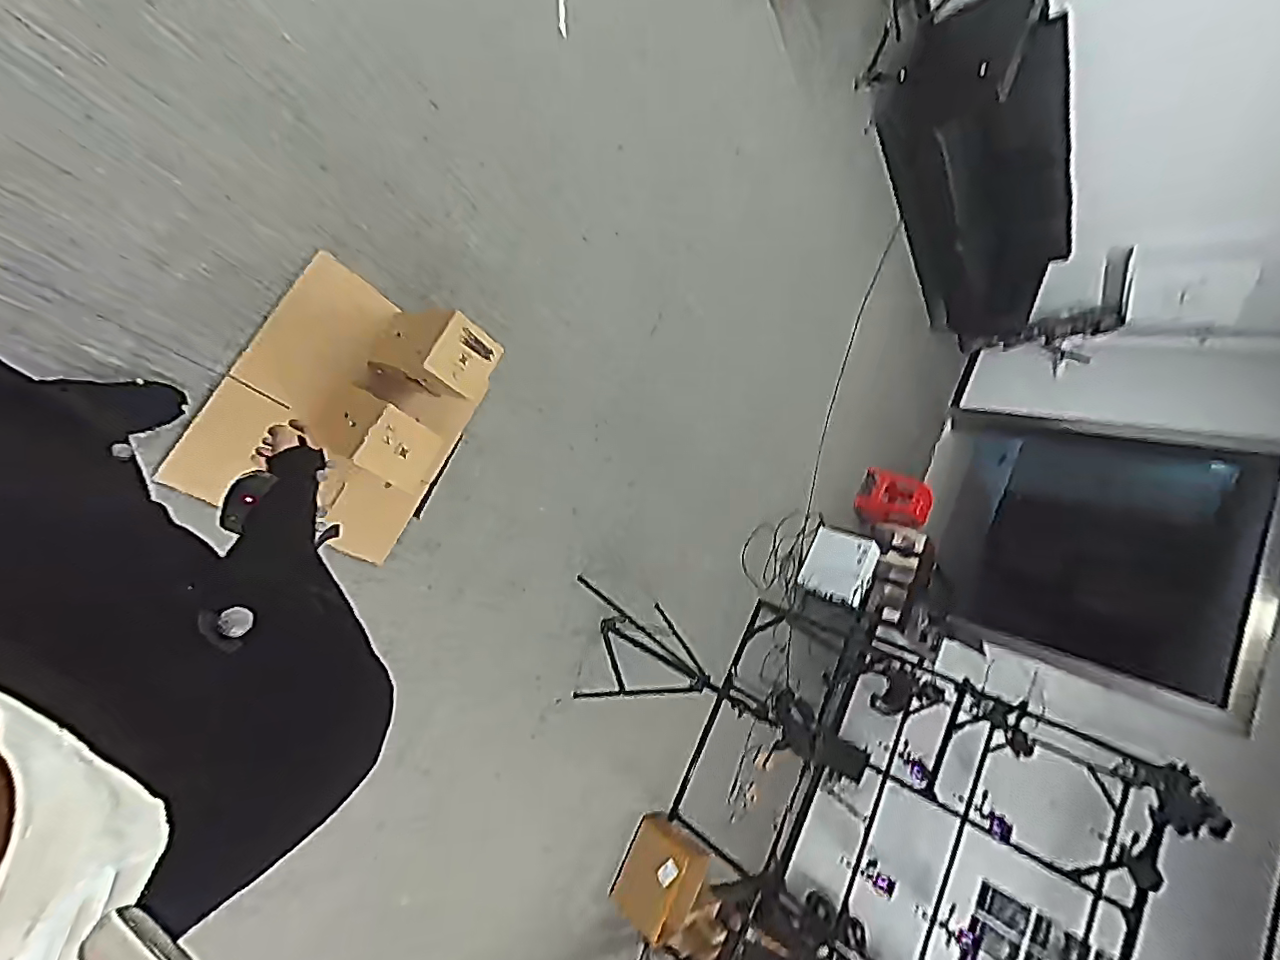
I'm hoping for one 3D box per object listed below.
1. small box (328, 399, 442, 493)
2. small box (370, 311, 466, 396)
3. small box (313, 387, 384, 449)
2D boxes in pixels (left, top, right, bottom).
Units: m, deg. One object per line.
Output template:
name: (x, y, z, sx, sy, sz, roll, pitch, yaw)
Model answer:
small box: (-0.654, -0.093, 1.385, 0.179, 0.176, 0.168, 42, 71, -45)
small box: (-0.645, -0.364, 1.555, 0.168, 0.176, 0.179, 40, 71, -46)
small box: (-0.769, -0.137, 1.495, 0.168, 0.176, 0.179, 42, 71, -45)
